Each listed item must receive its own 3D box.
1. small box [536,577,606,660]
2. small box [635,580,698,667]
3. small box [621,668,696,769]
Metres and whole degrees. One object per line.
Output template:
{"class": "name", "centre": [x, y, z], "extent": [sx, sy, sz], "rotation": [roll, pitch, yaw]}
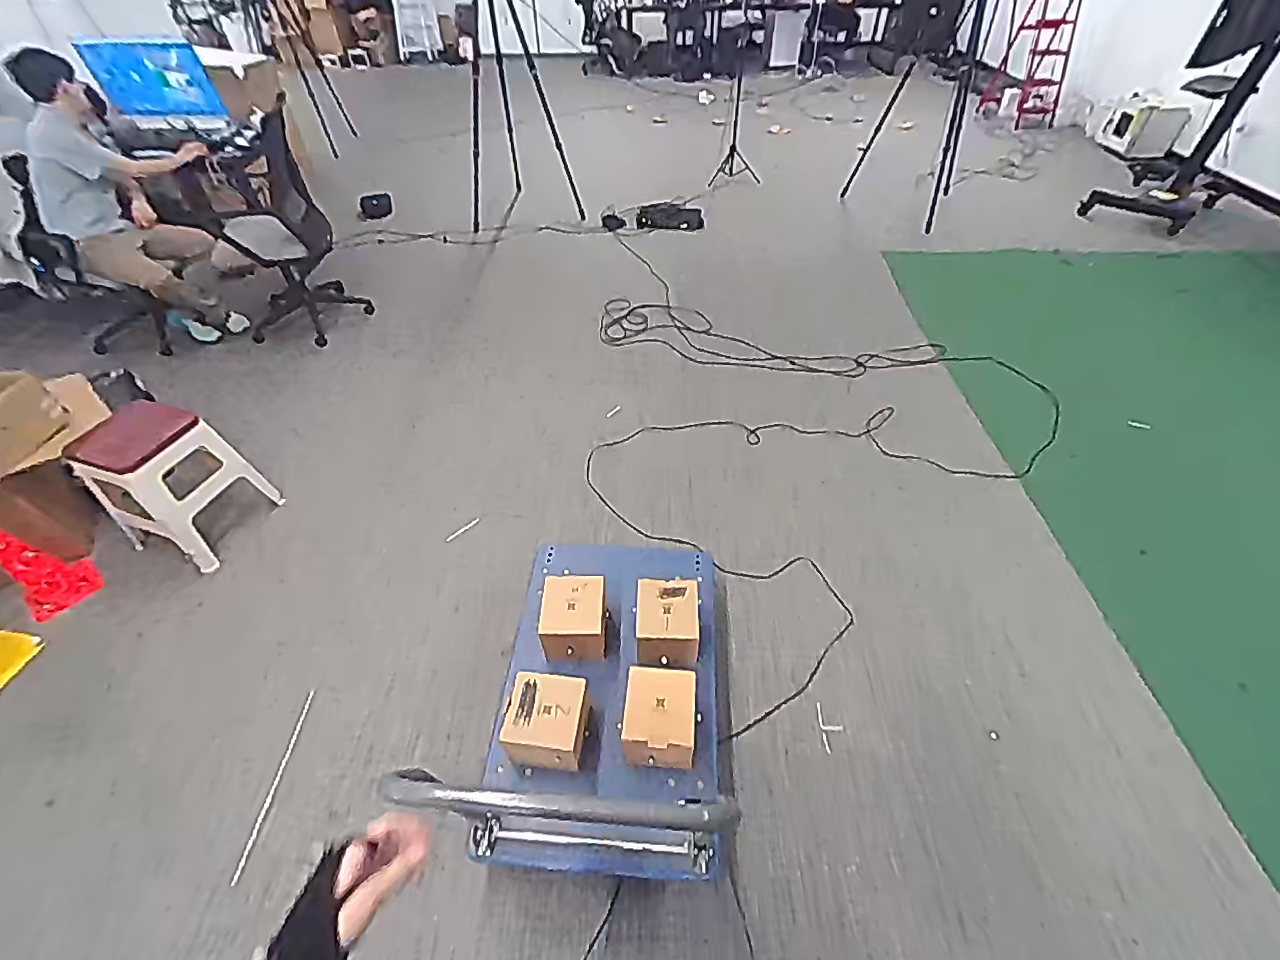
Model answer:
{"class": "small box", "centre": [-0.184, 0.388, 1.503], "extent": [0.168, 0.176, 0.179], "rotation": [1, 48, 0]}
{"class": "small box", "centre": [0.072, 0.396, 1.493], "extent": [0.168, 0.176, 0.179], "rotation": [1, 49, 3]}
{"class": "small box", "centre": [0.045, 0.585, 1.324], "extent": [0.168, 0.176, 0.179], "rotation": [4, 49, 4]}
